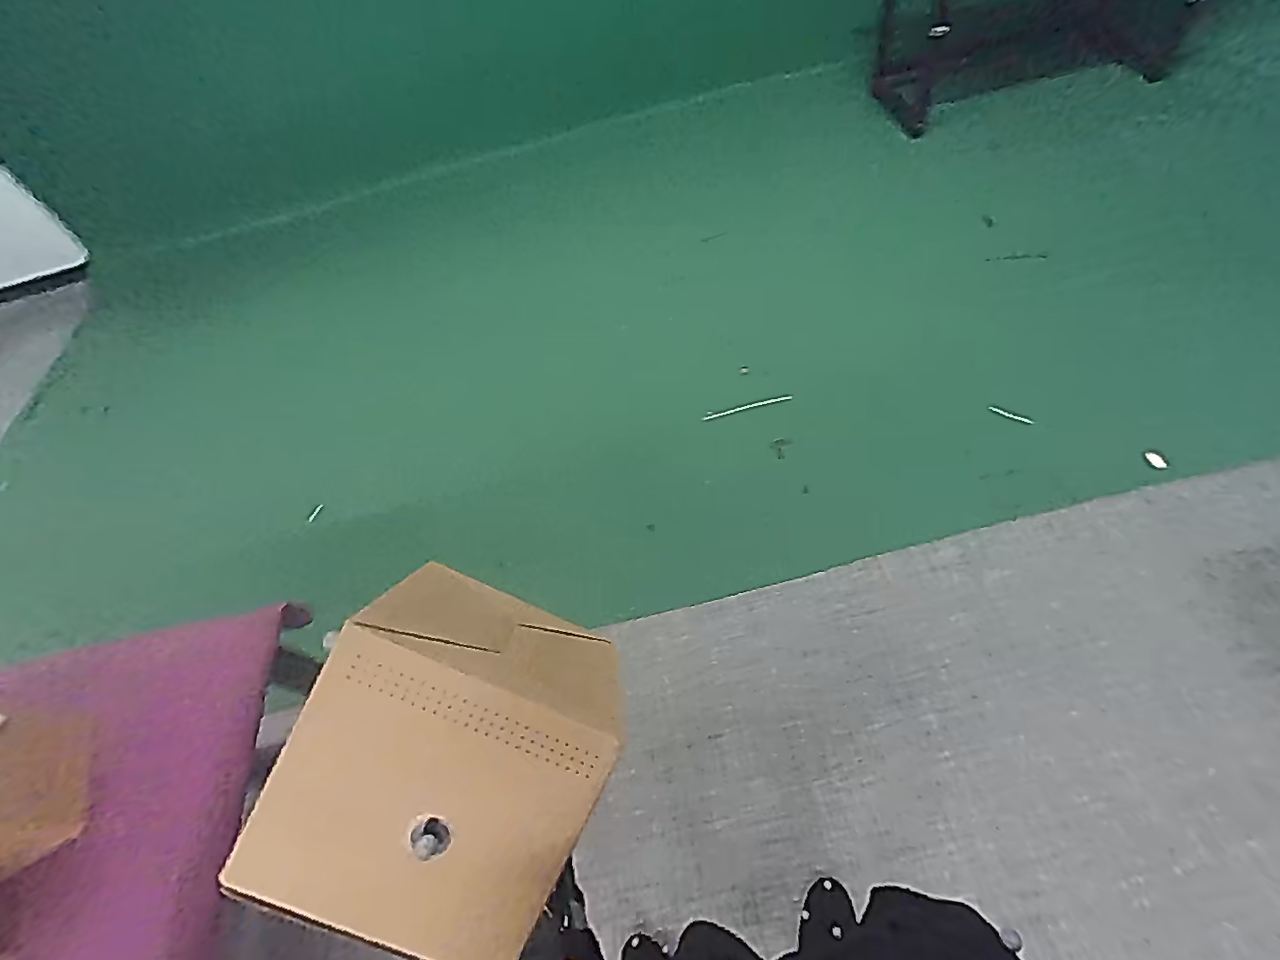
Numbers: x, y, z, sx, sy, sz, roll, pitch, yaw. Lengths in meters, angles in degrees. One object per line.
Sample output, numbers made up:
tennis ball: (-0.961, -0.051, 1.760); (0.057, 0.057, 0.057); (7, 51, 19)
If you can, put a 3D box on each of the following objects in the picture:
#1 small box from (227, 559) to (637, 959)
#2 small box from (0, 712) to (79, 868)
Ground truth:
small box: (-0.122, 0.173, 0.381); (0.179, 0.168, 0.176); (26, 91, -6)
small box: (-0.905, 0.423, 0.710); (0.168, 0.176, 0.179); (-30, 55, -9)
